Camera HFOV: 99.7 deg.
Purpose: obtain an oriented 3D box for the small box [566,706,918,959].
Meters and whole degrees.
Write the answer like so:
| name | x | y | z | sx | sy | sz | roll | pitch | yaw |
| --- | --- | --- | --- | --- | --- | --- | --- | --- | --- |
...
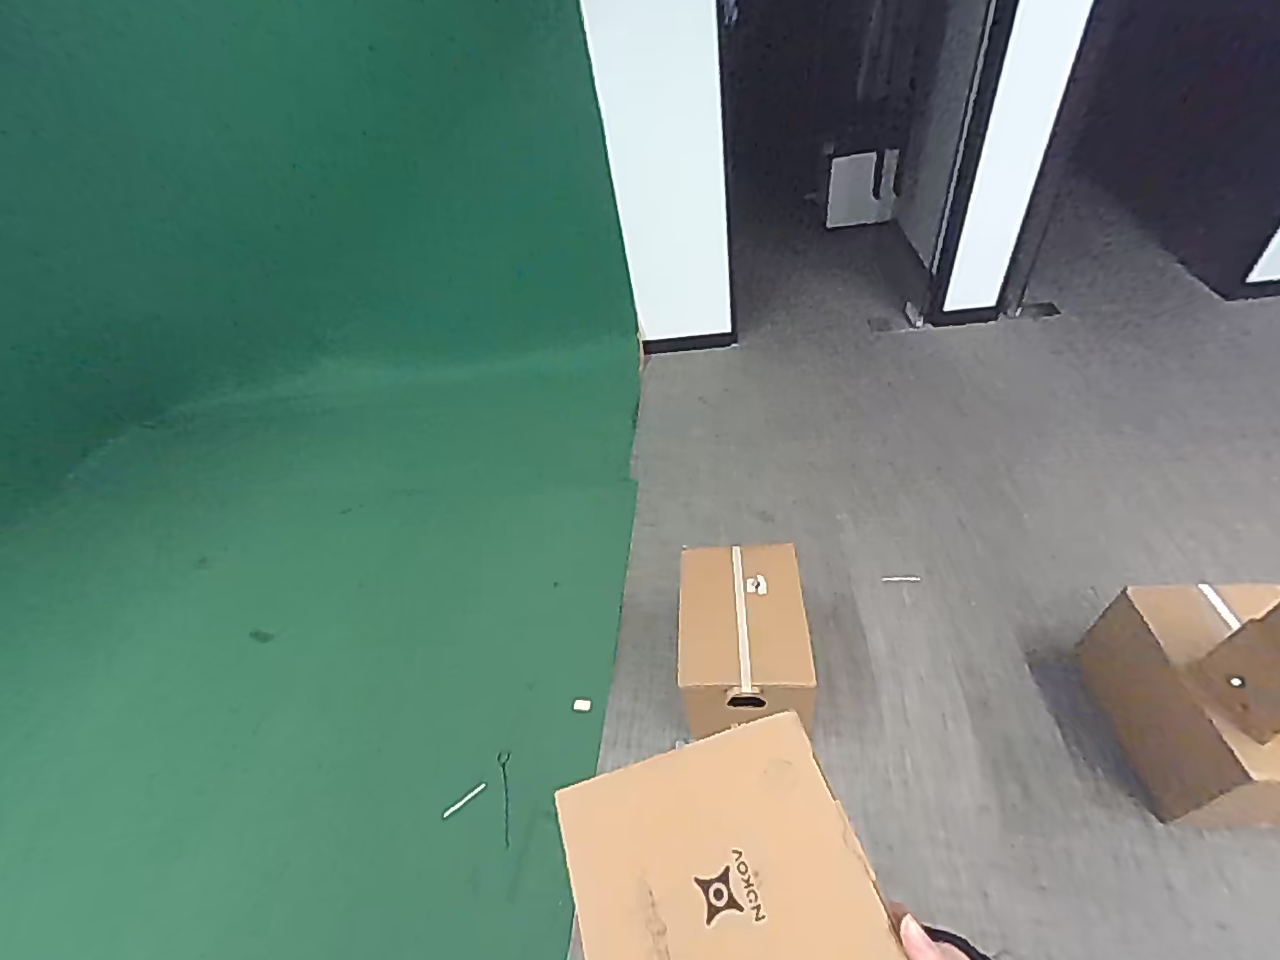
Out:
| name | x | y | z | sx | sy | sz | roll | pitch | yaw |
| --- | --- | --- | --- | --- | --- | --- | --- | --- | --- |
| small box | 0.059 | 0.289 | 0.387 | 0.179 | 0.176 | 0.168 | -16 | 51 | -7 |

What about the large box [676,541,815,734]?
| name | x | y | z | sx | sy | sz | roll | pitch | yaw |
| --- | --- | --- | --- | --- | --- | --- | --- | --- | --- |
| large box | 0.274 | 0.423 | 1.456 | 0.320 | 0.320 | 0.408 | -4 | 44 | 9 |

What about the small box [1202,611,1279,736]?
| name | x | y | z | sx | sy | sz | roll | pitch | yaw |
| --- | --- | --- | --- | --- | --- | --- | --- | --- | --- |
| small box | 1.201 | 0.349 | 0.974 | 0.179 | 0.176 | 0.168 | -6 | 45 | 9 |
